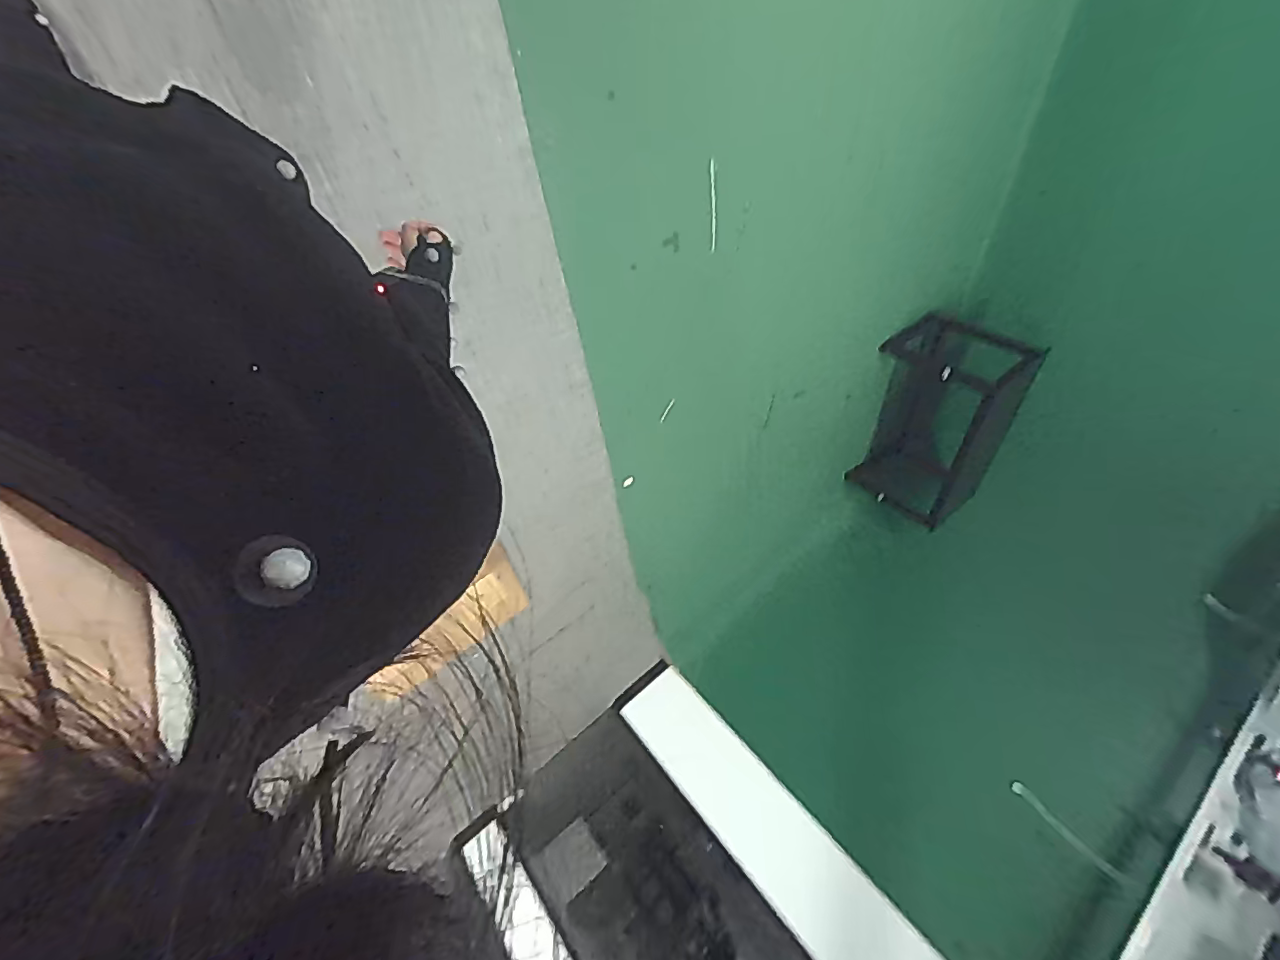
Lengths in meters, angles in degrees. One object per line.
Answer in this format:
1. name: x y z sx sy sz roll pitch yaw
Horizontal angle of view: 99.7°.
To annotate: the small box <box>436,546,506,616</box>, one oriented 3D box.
1. small box: -0.646 0.375 2.056 0.168 0.176 0.179 -35 143 -19
